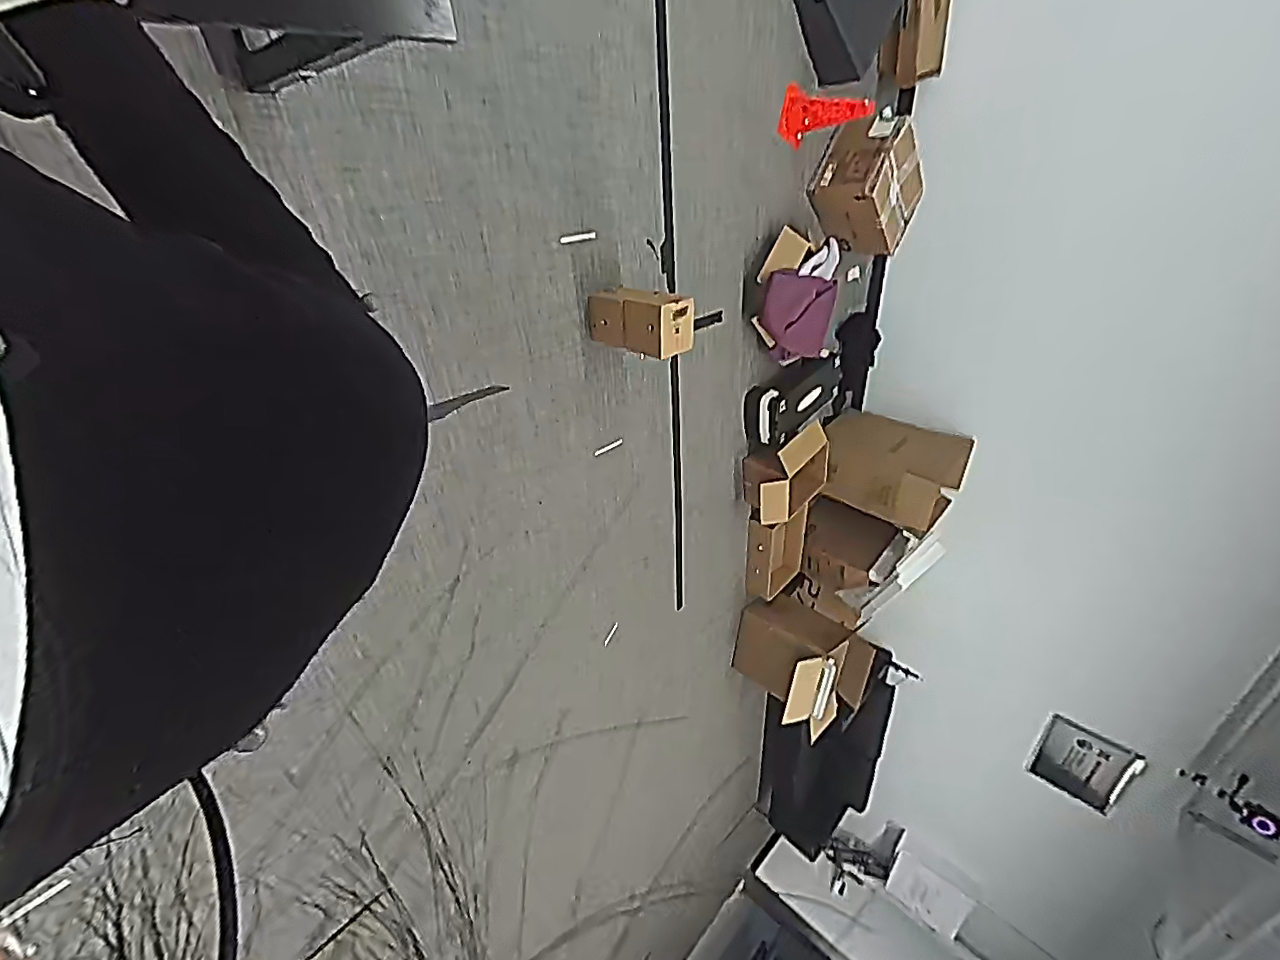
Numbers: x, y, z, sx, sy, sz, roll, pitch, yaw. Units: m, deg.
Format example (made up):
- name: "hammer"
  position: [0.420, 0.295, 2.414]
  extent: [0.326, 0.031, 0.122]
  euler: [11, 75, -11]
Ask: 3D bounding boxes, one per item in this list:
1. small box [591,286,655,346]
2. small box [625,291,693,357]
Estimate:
- name: "small box"
  position: [-0.062, -0.585, 1.917]
  extent: [0.179, 0.176, 0.168]
  euler: [-28, 128, -37]
- name: "small box"
  position: [0.062, -0.532, 1.820]
  extent: [0.168, 0.176, 0.179]
  euler: [-29, 130, -38]
